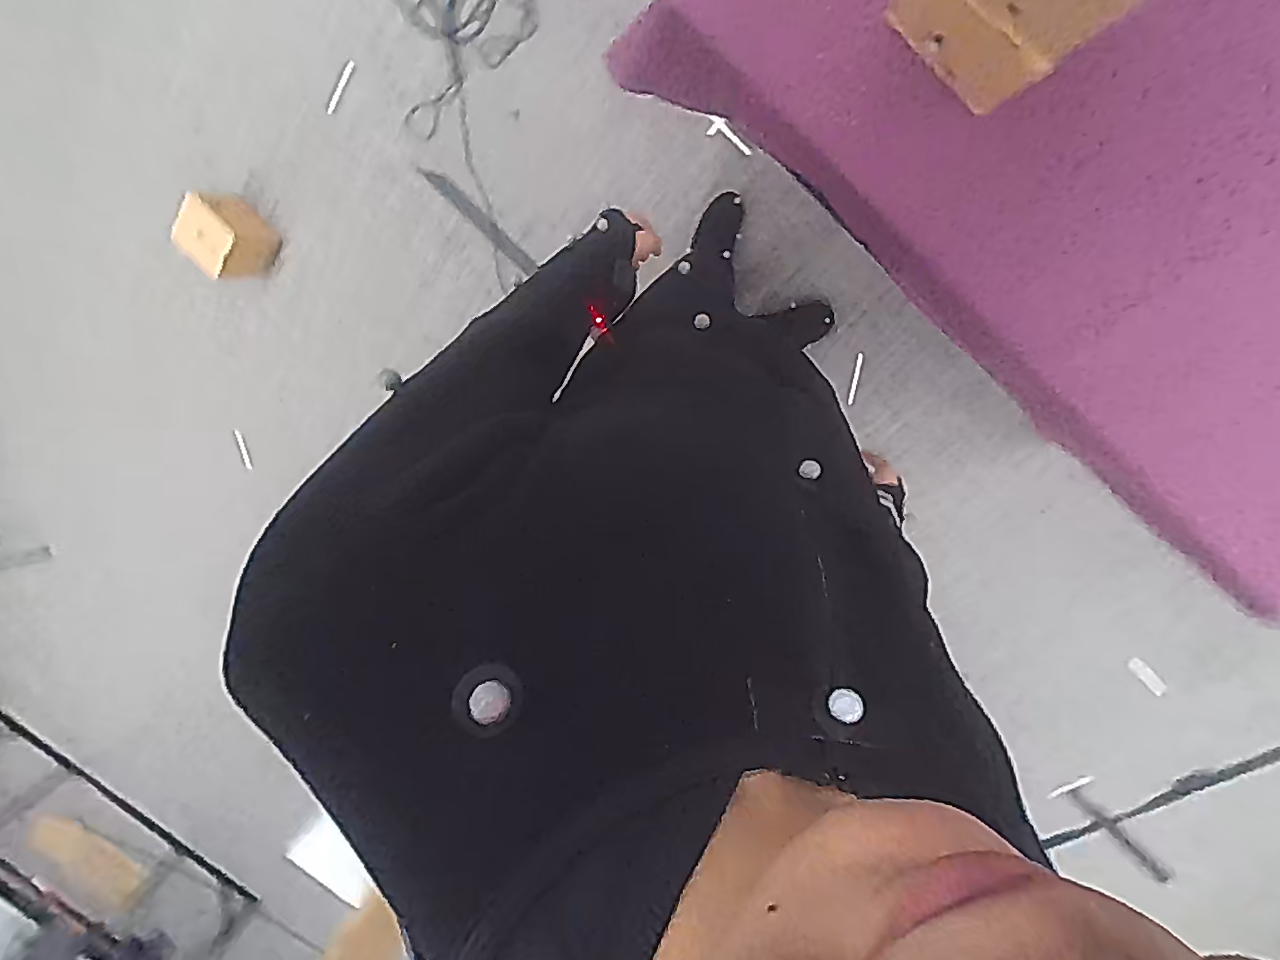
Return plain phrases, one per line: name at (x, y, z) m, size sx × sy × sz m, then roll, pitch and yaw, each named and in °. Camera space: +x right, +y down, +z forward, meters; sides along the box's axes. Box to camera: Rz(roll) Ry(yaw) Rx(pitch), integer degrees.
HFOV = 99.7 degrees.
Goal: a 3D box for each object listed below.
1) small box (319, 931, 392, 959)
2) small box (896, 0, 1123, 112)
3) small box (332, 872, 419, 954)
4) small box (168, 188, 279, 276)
small box at (-0.918, 1.545, 1.680) m, size 0.179 × 0.176 × 0.168 m, roll 40°, pitch 117°, yaw -7°
small box at (0.388, -0.514, 0.534) m, size 0.168 × 0.176 × 0.179 m, roll 42°, pitch 116°, yaw -6°
small box at (-0.887, 1.477, 1.826) m, size 0.168 × 0.176 × 0.179 m, roll 45°, pitch 116°, yaw -8°
small box at (-1.255, -0.744, 1.638) m, size 0.168 × 0.176 × 0.179 m, roll -40°, pitch 99°, yaw 25°
